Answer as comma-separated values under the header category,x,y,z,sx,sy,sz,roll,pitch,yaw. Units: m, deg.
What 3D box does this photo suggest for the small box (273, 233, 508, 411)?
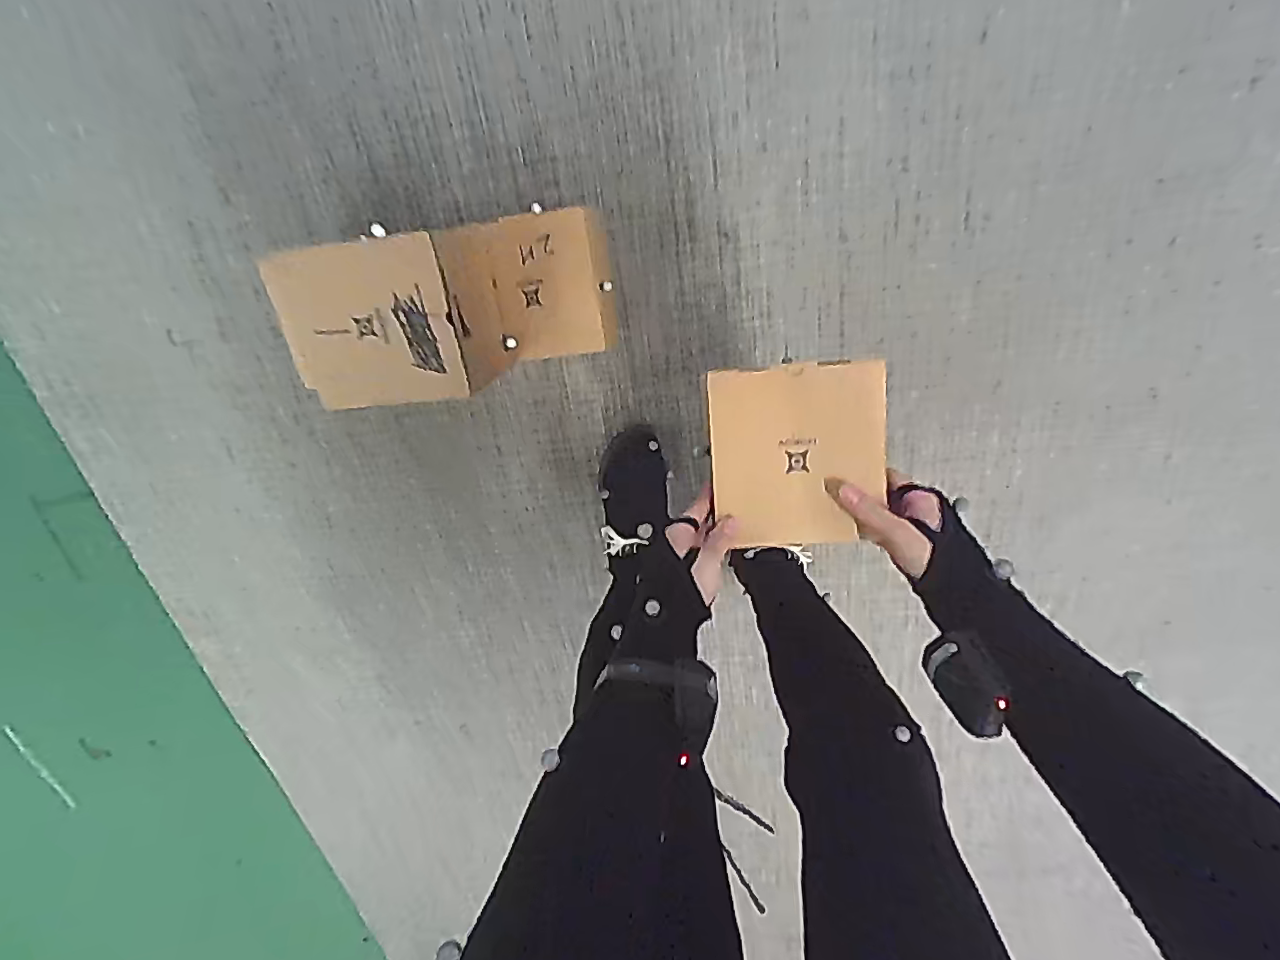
category,x,y,z,sx,sy,sz,roll,pitch,yaw
small box,-0.264,-0.189,0.628,0.179,0.176,0.168,-4,114,6

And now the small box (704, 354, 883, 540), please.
category,x,y,z,sx,sy,sz,roll,pitch,yaw
small box,0.159,-0.040,0.605,0.168,0.176,0.179,-4,97,6
